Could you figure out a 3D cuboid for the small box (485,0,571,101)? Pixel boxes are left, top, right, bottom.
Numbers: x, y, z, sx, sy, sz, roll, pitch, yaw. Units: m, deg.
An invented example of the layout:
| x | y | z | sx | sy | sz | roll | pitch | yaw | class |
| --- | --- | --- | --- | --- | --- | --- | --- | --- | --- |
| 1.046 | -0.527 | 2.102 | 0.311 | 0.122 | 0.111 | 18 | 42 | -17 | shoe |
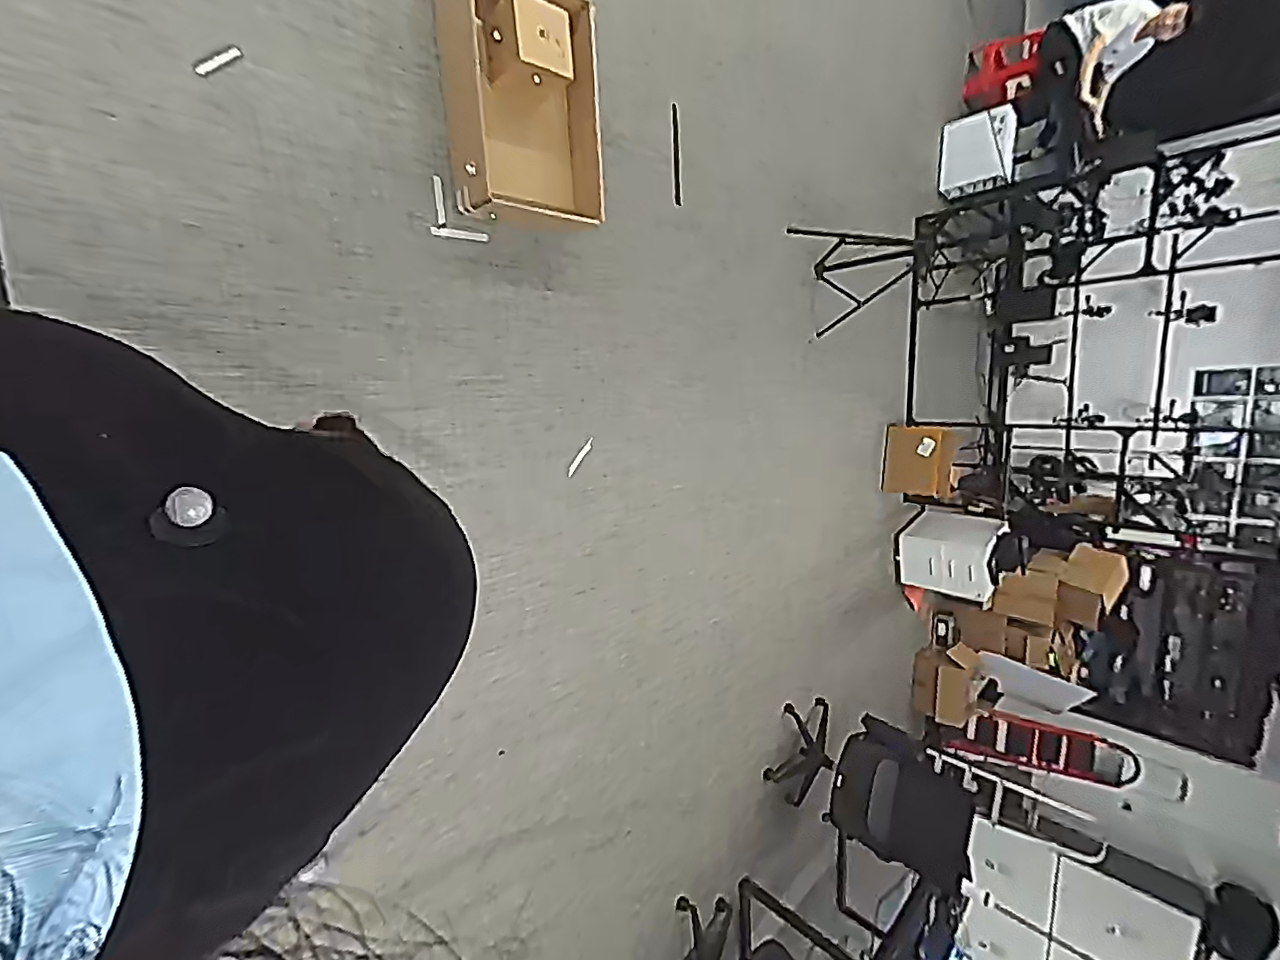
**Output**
| x | y | z | sx | sy | sz | roll | pitch | yaw | class |
| --- | --- | --- | --- | --- | --- | --- | --- | --- | --- |
| -0.316 | -1.191 | 1.502 | 0.179 | 0.176 | 0.168 | -14 | 106 | -42 | small box |
